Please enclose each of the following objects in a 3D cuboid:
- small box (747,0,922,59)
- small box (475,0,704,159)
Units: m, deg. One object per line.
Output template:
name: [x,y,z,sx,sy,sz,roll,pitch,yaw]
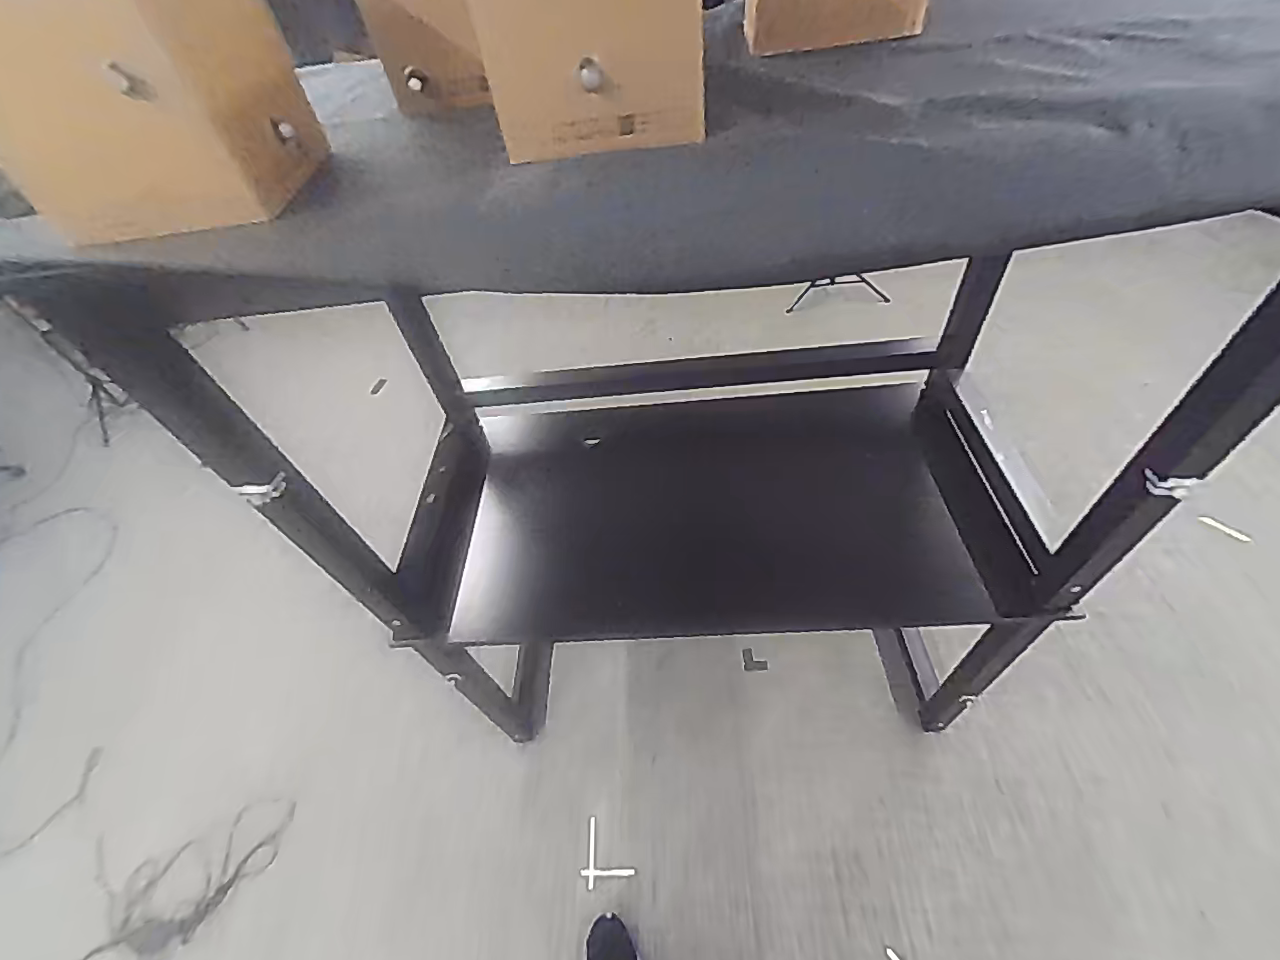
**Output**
small box: [0.207,-0.578,0.571,0.179,0.176,0.168,-2,50,9]
small box: [-0.034,-0.390,0.448,0.168,0.176,0.179,-2,49,8]
